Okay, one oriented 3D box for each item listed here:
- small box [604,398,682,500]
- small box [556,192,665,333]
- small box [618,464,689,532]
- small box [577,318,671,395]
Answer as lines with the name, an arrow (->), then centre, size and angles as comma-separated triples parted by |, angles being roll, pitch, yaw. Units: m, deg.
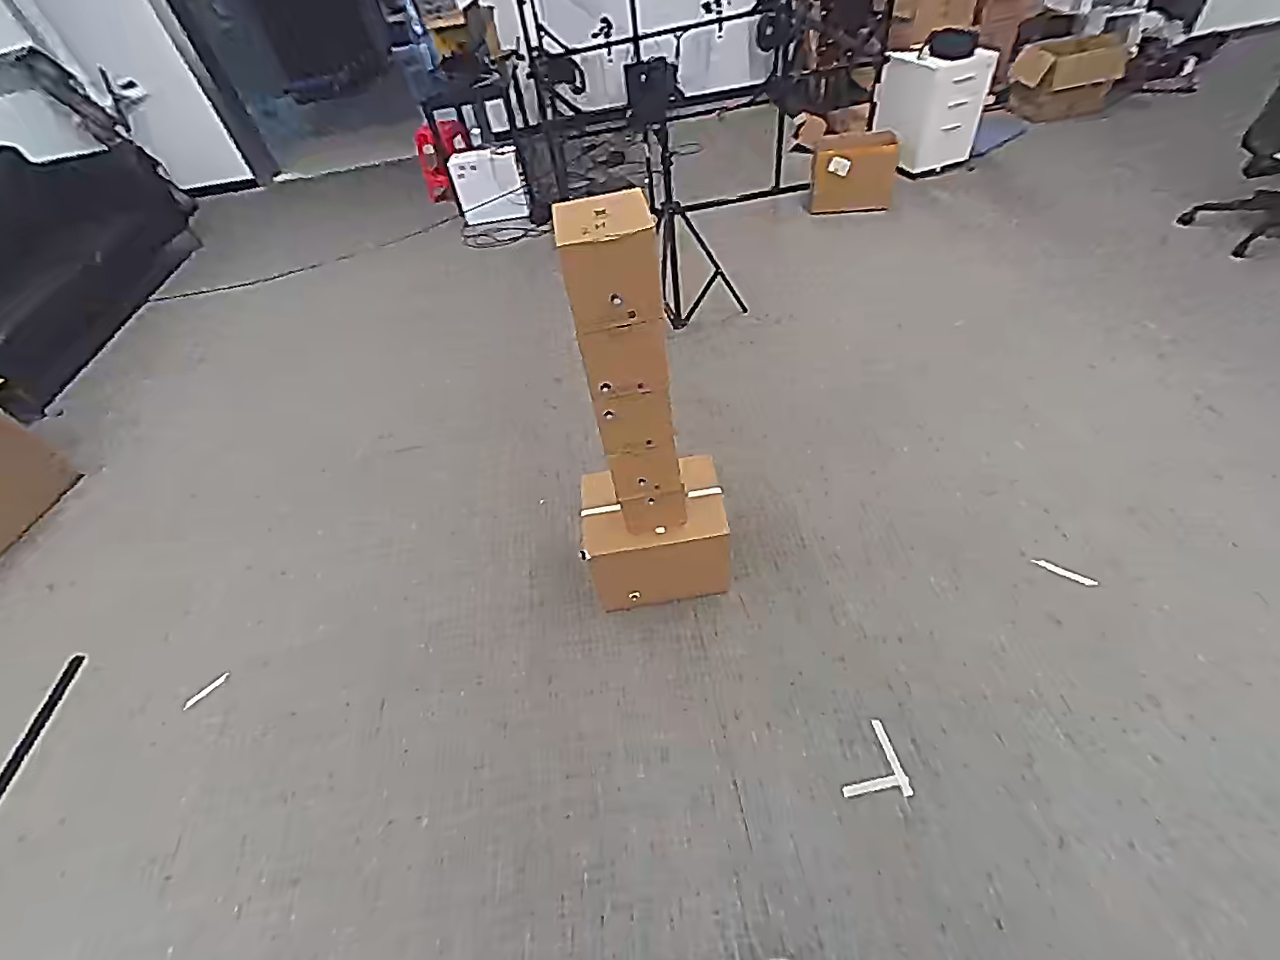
small box -> 0.008, -0.077, 1.361 | 0.168, 0.176, 0.179 | -11, 49, 0
small box -> -0.053, -0.397, 0.991 | 0.168, 0.176, 0.179 | -11, 49, 0
small box -> 0.031, 0.024, 1.486 | 0.179, 0.176, 0.168 | -11, 48, -1
small box -> -0.033, -0.291, 1.115 | 0.168, 0.176, 0.179 | -9, 48, 2
